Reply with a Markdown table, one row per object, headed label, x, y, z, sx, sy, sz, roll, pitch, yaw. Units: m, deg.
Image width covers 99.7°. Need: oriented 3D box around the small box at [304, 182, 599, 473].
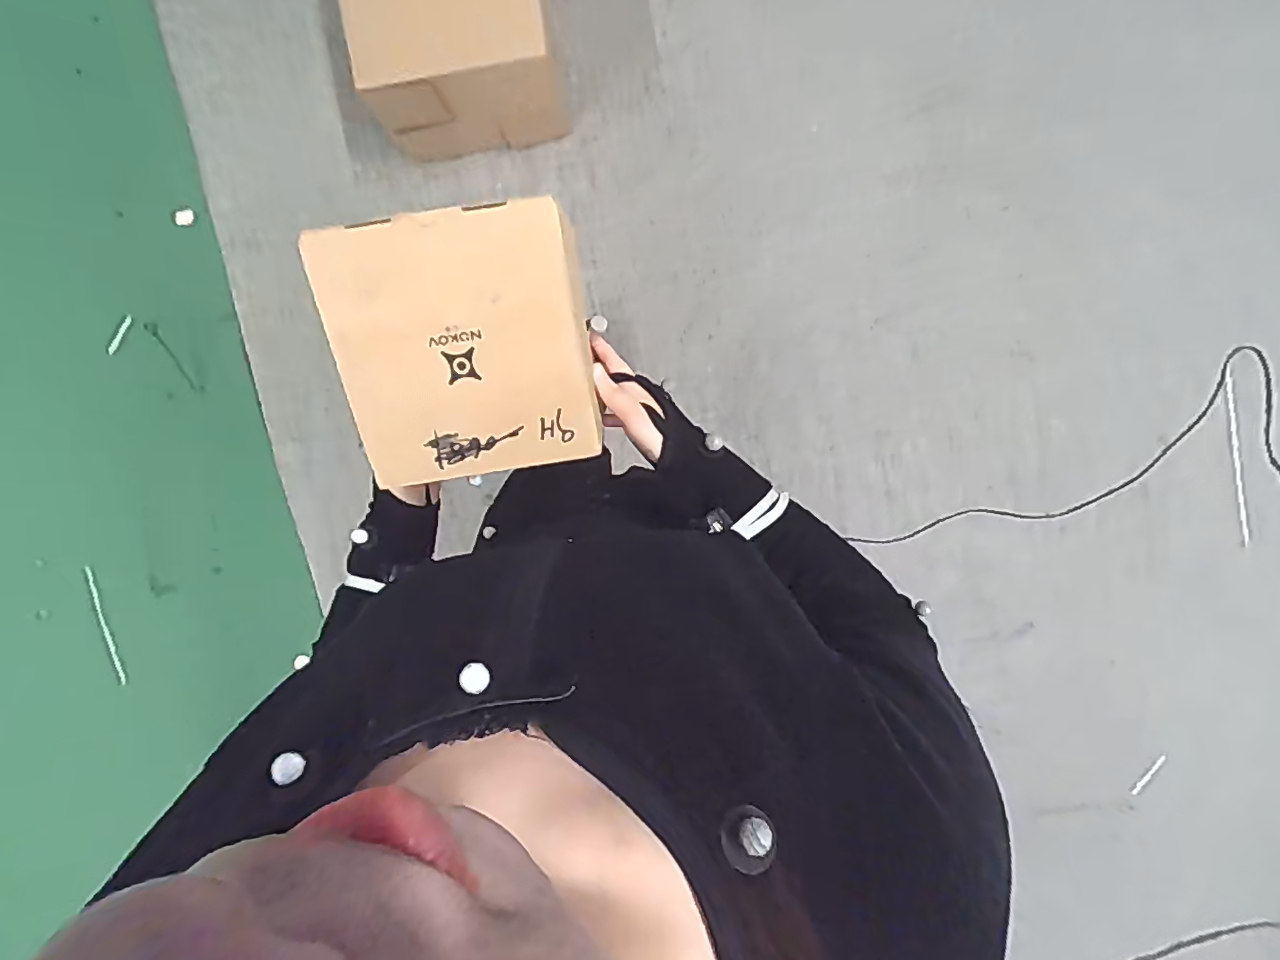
| label | x | y | z | sx | sy | sz | roll | pitch | yaw |
| --- | --- | --- | --- | --- | --- | --- | --- | --- | --- |
| small box | -0.127 | -0.121 | 0.443 | 0.168 | 0.176 | 0.179 | -8 | 108 | -1 |
